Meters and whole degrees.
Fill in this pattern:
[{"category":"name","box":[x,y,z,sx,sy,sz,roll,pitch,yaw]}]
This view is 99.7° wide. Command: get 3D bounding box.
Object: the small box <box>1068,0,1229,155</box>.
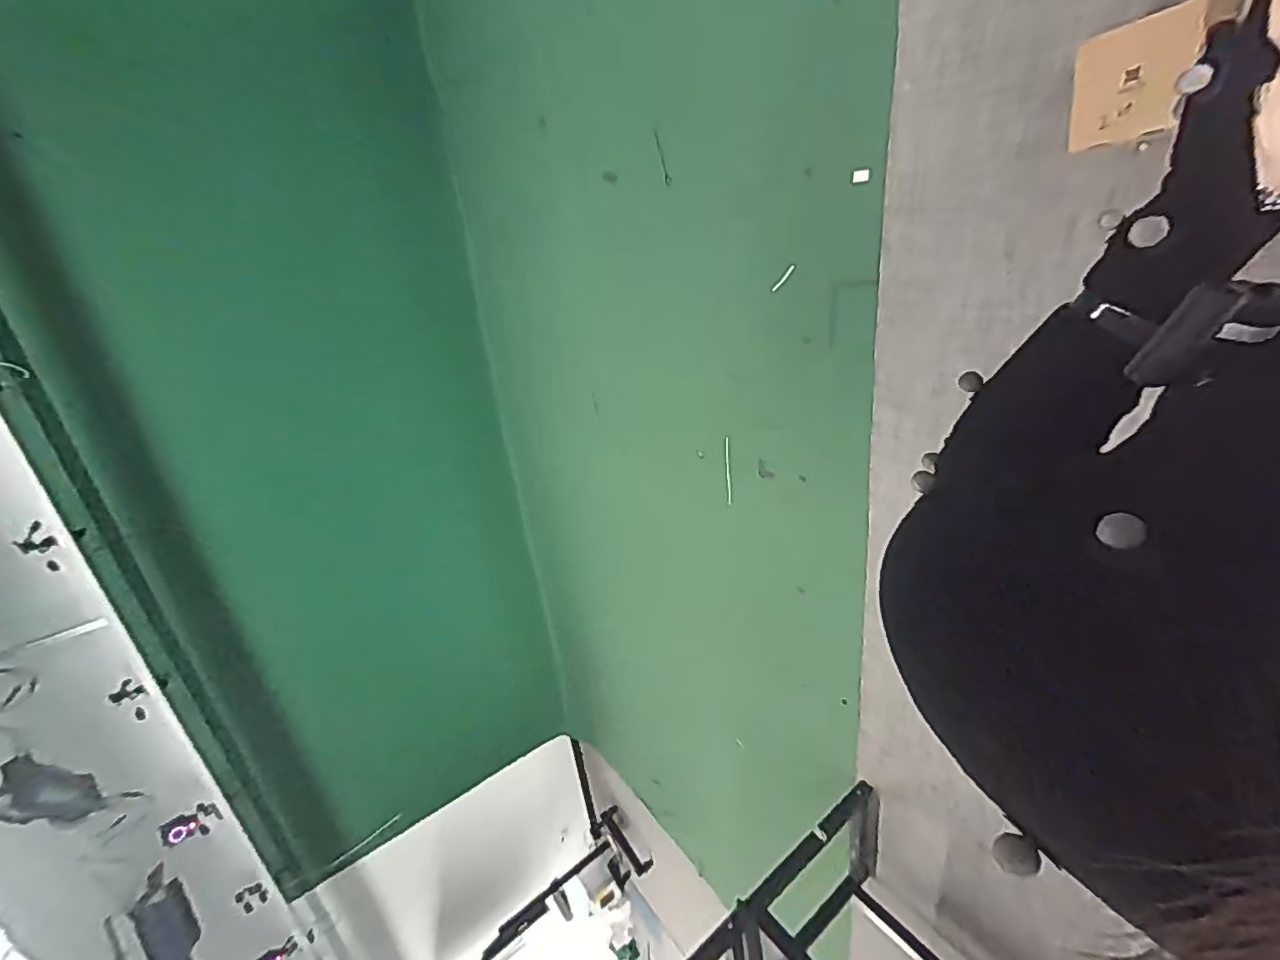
[{"category":"small box","box":[0.892,-0.693,0.951,0.168,0.176,0.179,17,121,53]}]
